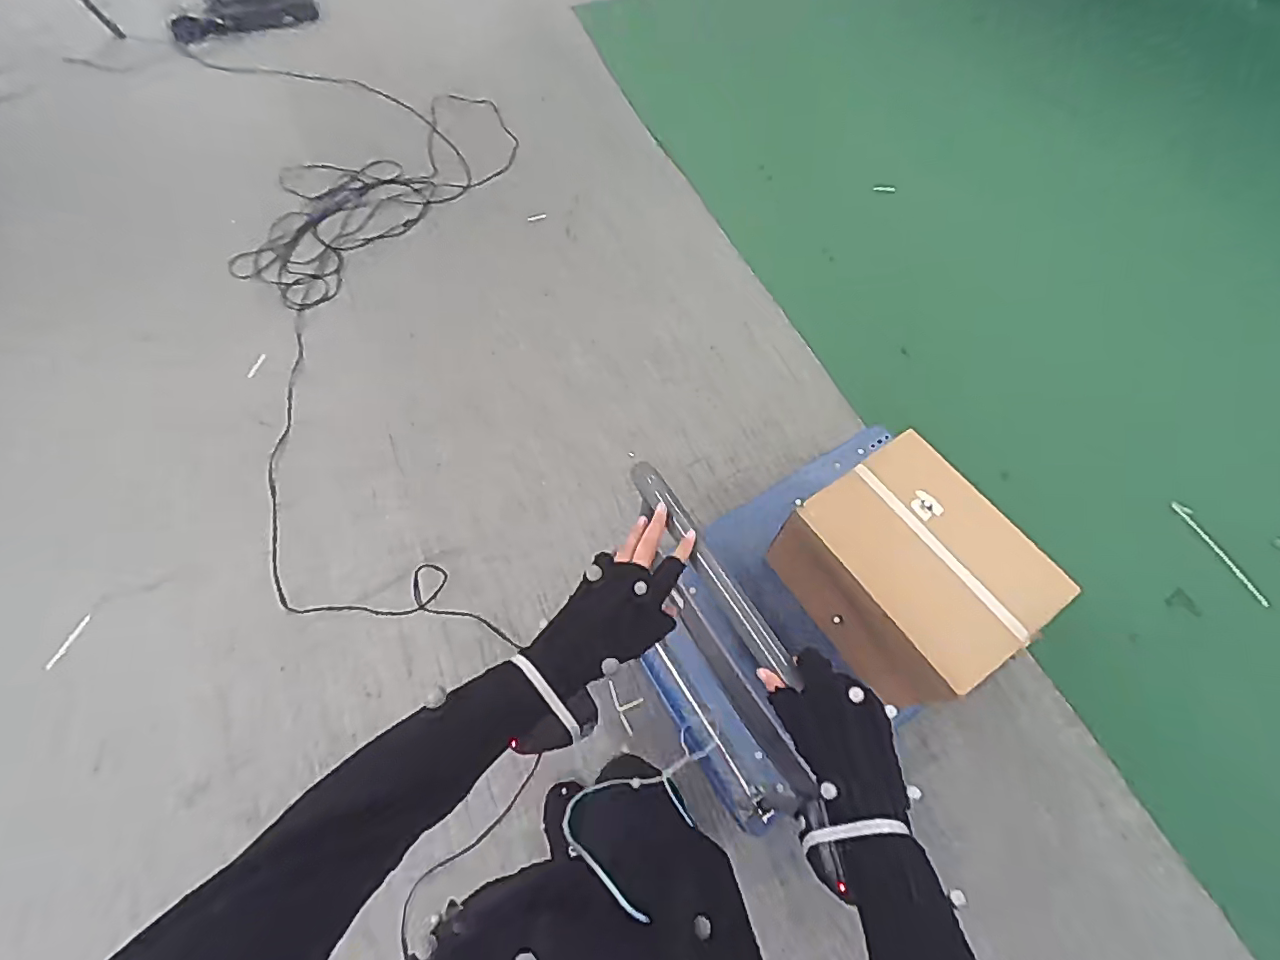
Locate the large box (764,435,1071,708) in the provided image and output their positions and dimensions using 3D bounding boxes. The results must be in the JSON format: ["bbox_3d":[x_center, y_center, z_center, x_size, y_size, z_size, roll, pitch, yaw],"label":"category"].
[{"bbox_3d":[0.520,0.195,1.110,0.320,0.320,0.408,-31,66,-14],"label":"large box"}]
